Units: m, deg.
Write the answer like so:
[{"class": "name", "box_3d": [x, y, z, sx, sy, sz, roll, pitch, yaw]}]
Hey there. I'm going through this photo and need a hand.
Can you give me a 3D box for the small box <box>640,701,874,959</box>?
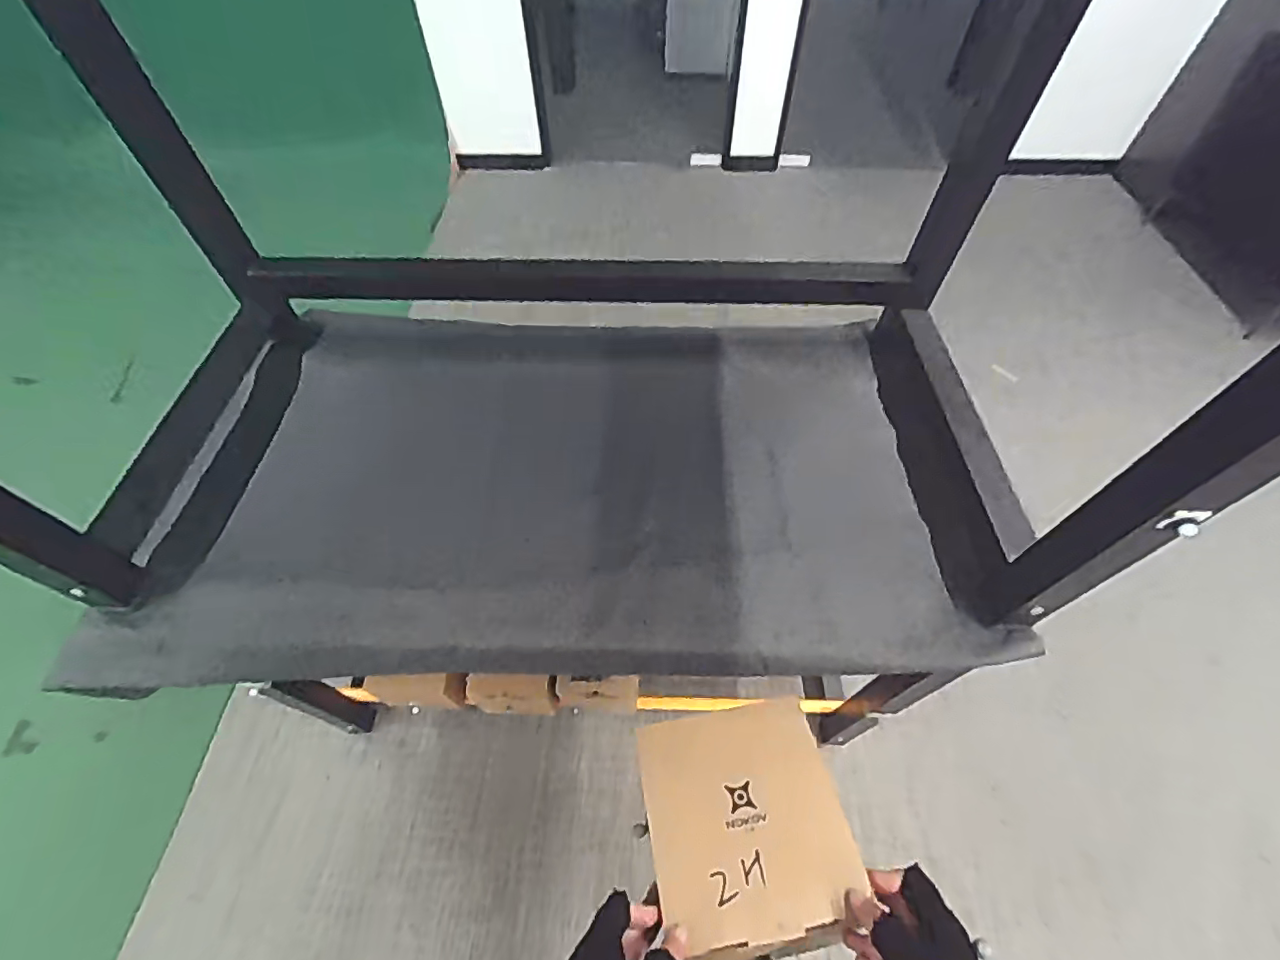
[{"class": "small box", "box_3d": [0.097, 0.350, 0.529, 0.168, 0.176, 0.179, -10, 43, -3]}]
